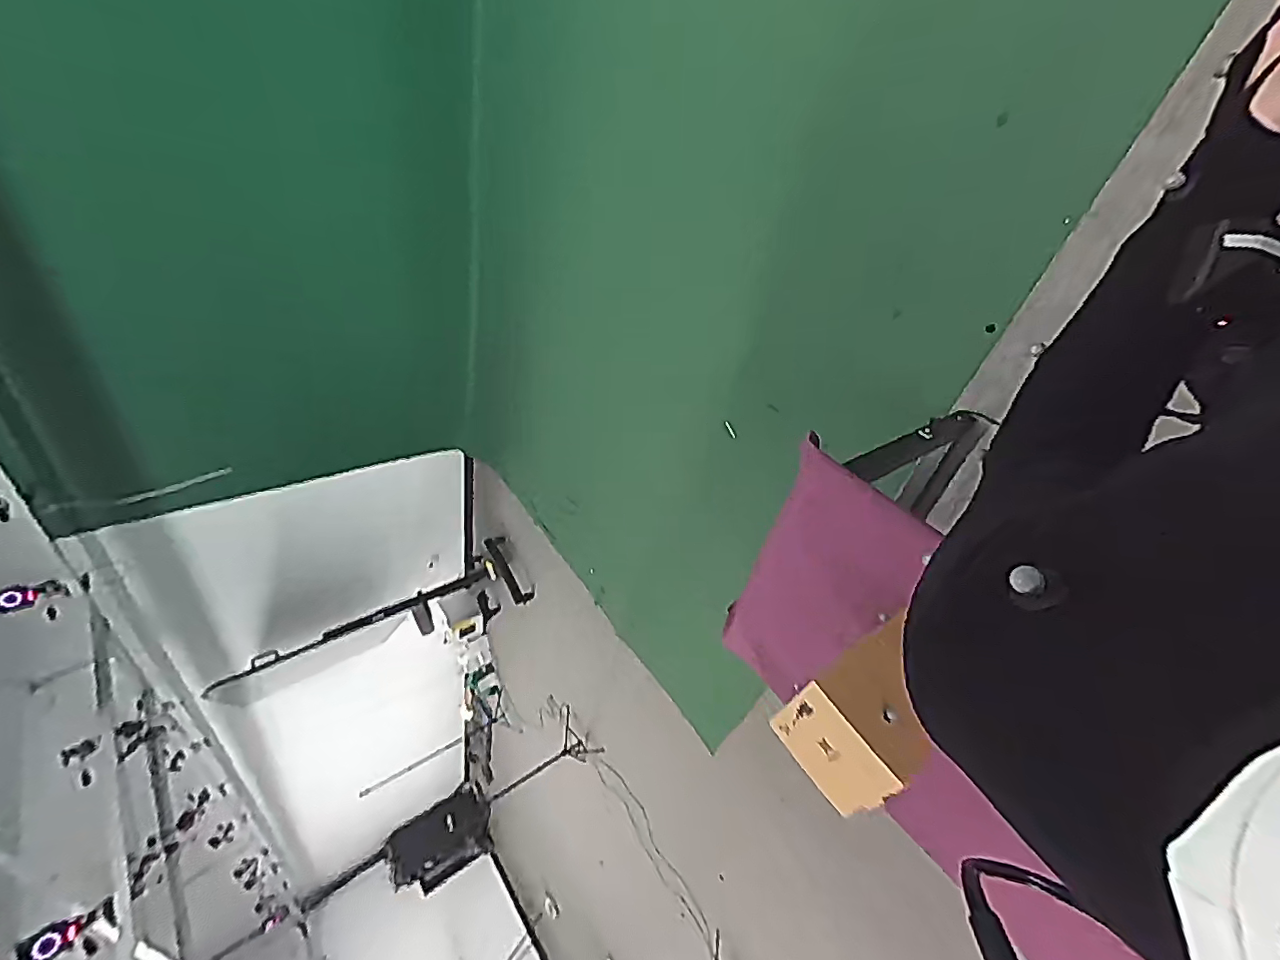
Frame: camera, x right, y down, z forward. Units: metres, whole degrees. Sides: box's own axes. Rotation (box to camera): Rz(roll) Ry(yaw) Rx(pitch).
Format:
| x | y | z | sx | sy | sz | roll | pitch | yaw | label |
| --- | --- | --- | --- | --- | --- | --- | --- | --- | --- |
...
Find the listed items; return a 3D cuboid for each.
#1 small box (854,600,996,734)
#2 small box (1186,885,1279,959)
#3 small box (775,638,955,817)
| x | y | z | sx | sy | sz | roll | pitch | yaw | label |
| --- | --- | --- | --- | --- | --- | --- | --- | --- | --- |
| 0.488 | 0.349 | 0.972 | 0.179 | 0.176 | 0.168 | 51 | 140 | 25 | small box |
| 0.826 | 0.649 | 0.666 | 0.179 | 0.176 | 0.168 | 38 | 134 | 36 | small box |
| 0.363 | 0.393 | 0.877 | 0.179 | 0.176 | 0.168 | 48 | 138 | 26 | small box |
